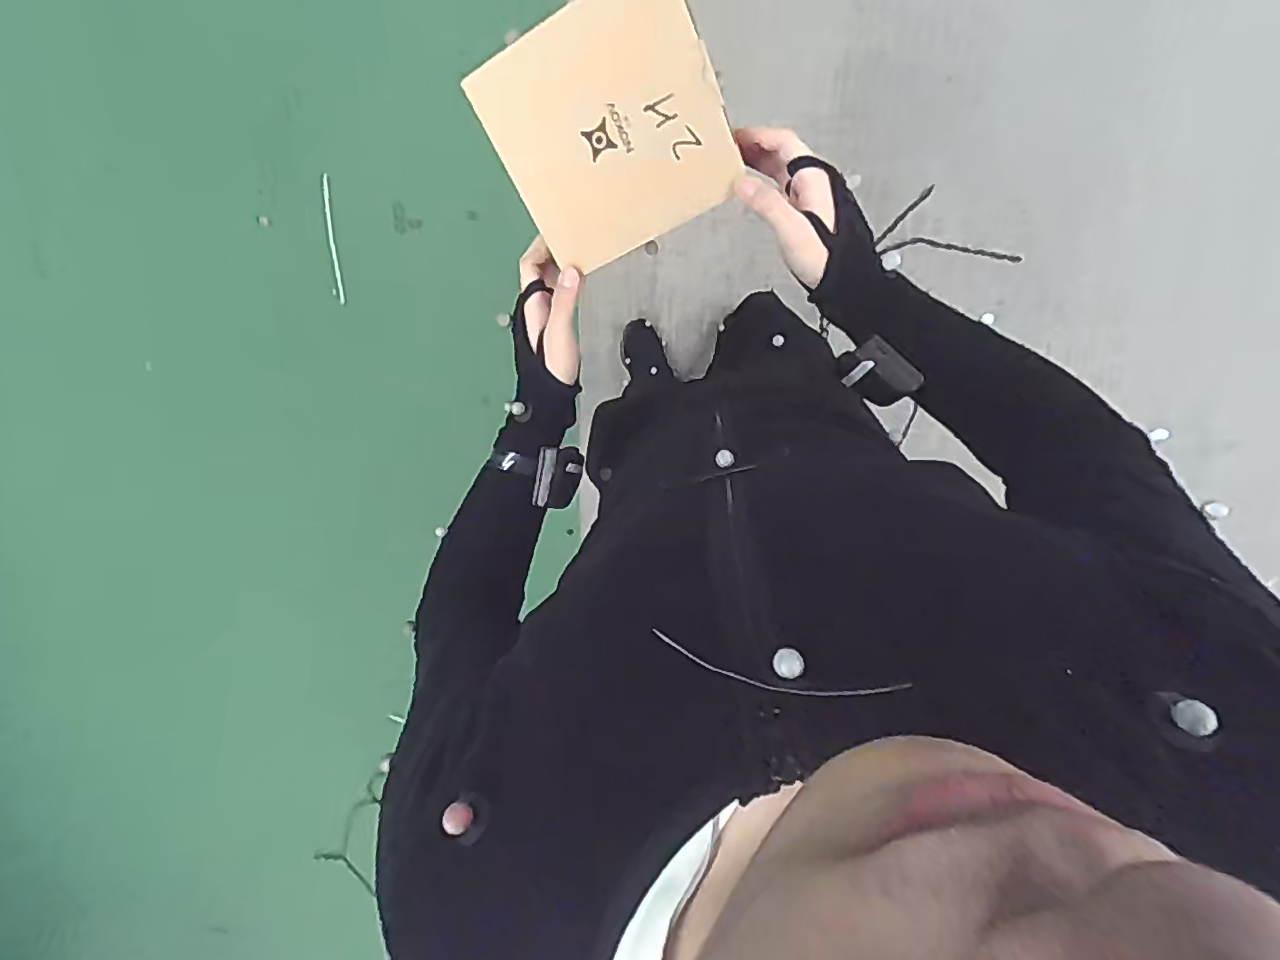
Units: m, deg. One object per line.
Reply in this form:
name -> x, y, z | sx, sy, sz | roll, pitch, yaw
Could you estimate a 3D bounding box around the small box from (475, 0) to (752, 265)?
small box -> -0.011, -0.322, 0.495 | 0.179, 0.176, 0.168 | -20, 117, 16
